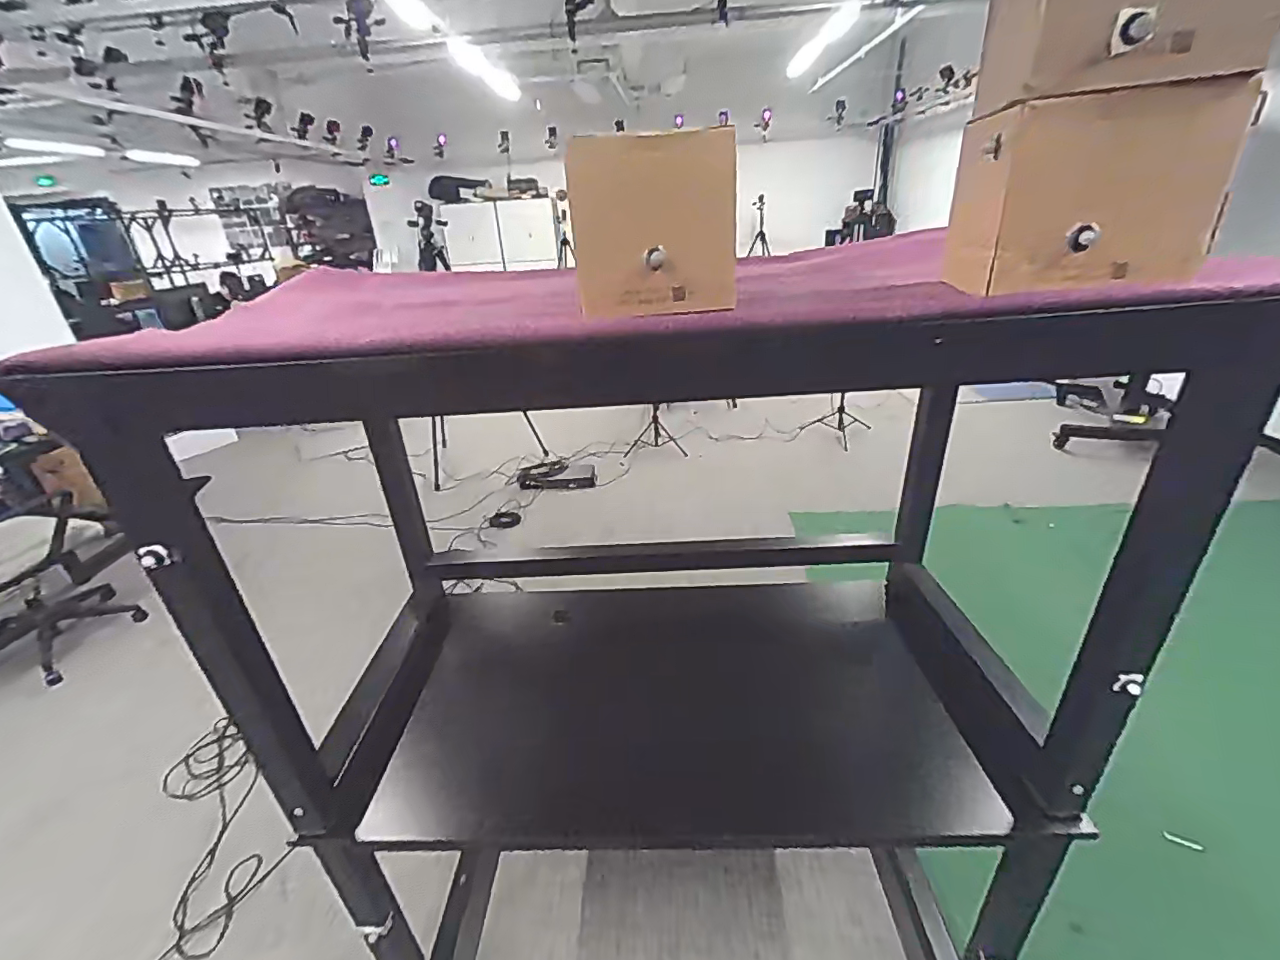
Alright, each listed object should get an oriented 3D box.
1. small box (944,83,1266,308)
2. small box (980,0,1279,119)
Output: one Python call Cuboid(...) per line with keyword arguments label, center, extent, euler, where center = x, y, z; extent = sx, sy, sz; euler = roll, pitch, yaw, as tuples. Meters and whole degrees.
Cuboid(label="small box", center=(0.426, -0.274, 0.542), extent=(0.168, 0.176, 0.179), euler=(2, 28, 12))
Cuboid(label="small box", center=(0.415, -0.415, 0.462), extent=(0.168, 0.176, 0.179), euler=(2, 29, 16))
